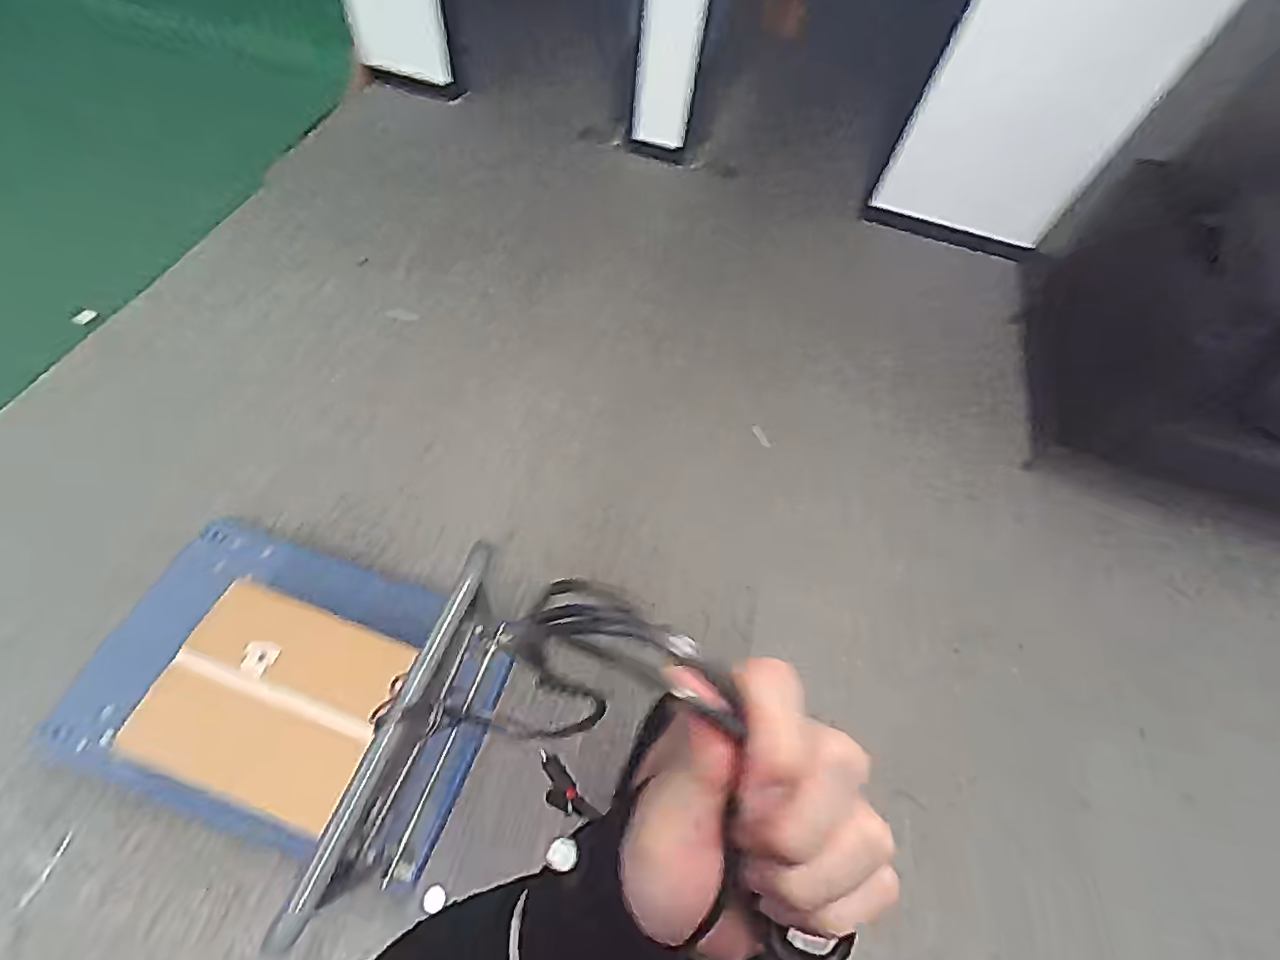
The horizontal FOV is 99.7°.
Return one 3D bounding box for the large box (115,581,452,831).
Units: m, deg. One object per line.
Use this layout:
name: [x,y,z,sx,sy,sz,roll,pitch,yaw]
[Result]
large box: [-0.655,0.451,1.088,0.408,0.320,0.320,20,60,4]
